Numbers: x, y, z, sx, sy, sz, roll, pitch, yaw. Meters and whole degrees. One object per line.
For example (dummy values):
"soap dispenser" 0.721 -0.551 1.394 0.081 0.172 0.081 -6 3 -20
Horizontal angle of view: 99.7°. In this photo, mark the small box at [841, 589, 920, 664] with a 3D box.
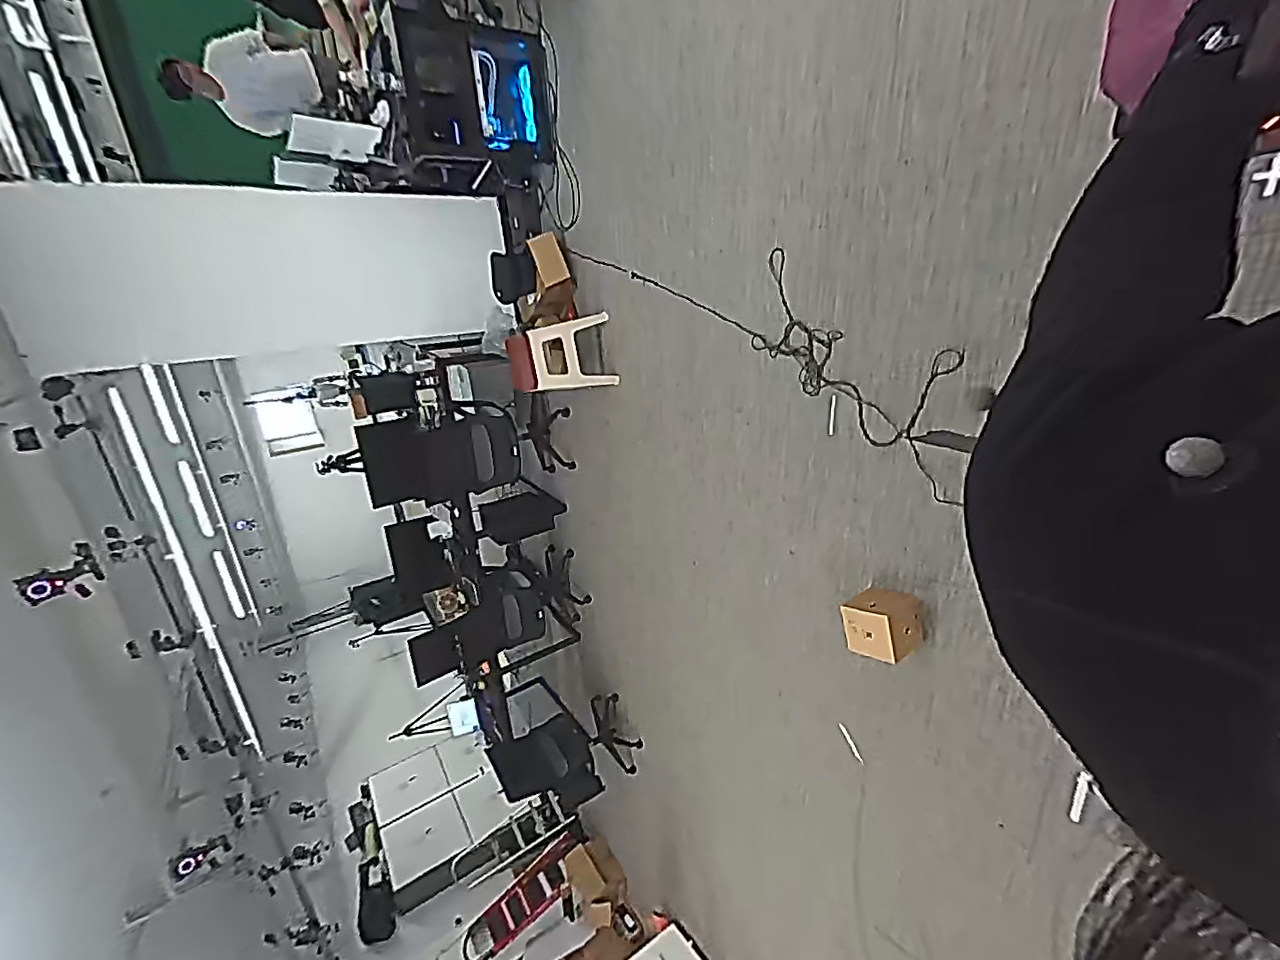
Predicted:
"small box" 0.798 0.473 1.779 0.179 0.176 0.168 1 105 59
